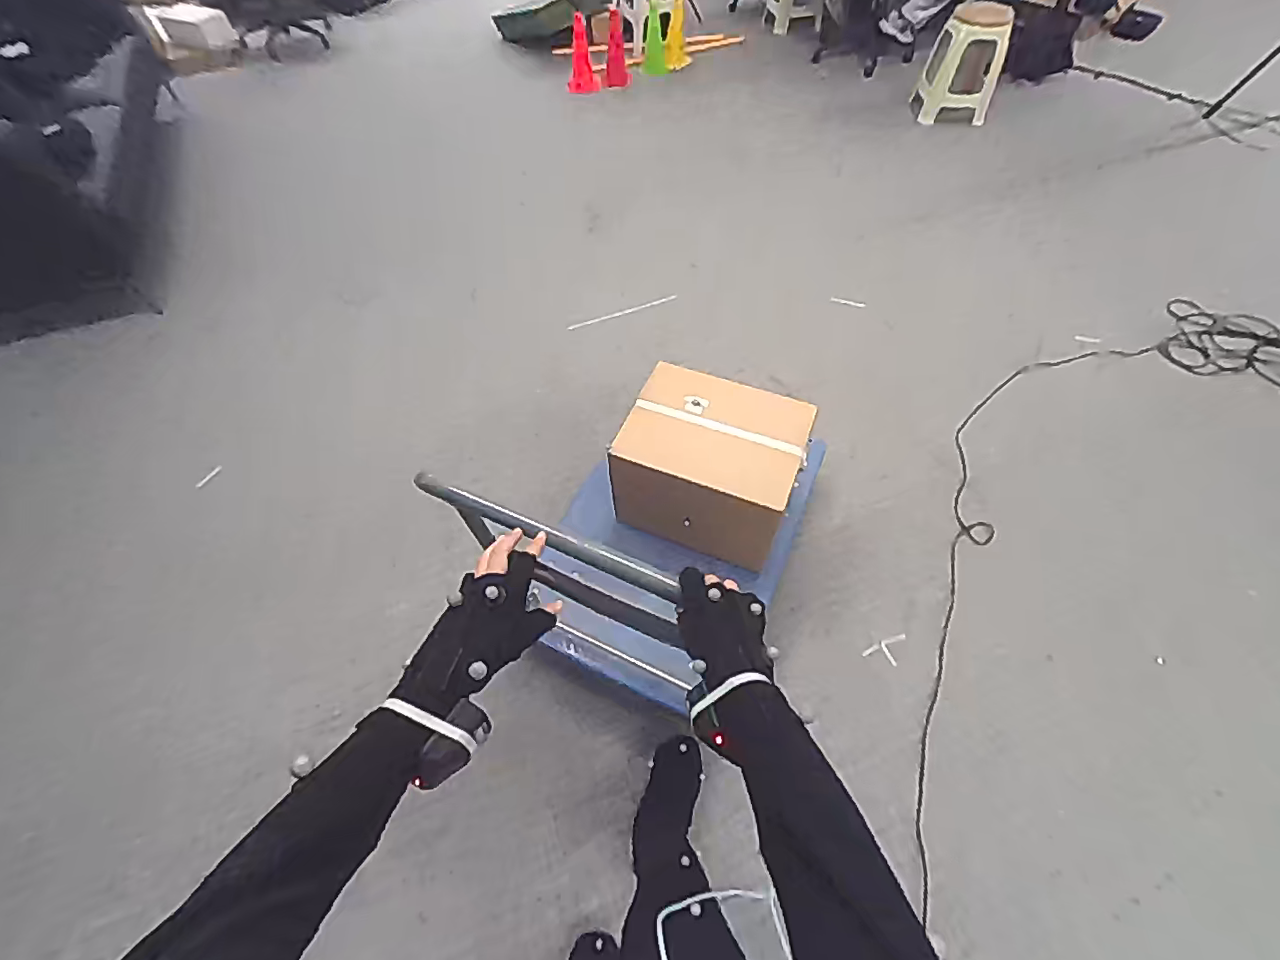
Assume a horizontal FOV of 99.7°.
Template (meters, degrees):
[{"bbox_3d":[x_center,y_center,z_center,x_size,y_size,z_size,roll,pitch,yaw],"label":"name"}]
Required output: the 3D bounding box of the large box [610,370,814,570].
[{"bbox_3d":[0.179,-0.023,1.363,0.408,0.320,0.320,18,58,15],"label":"large box"}]
